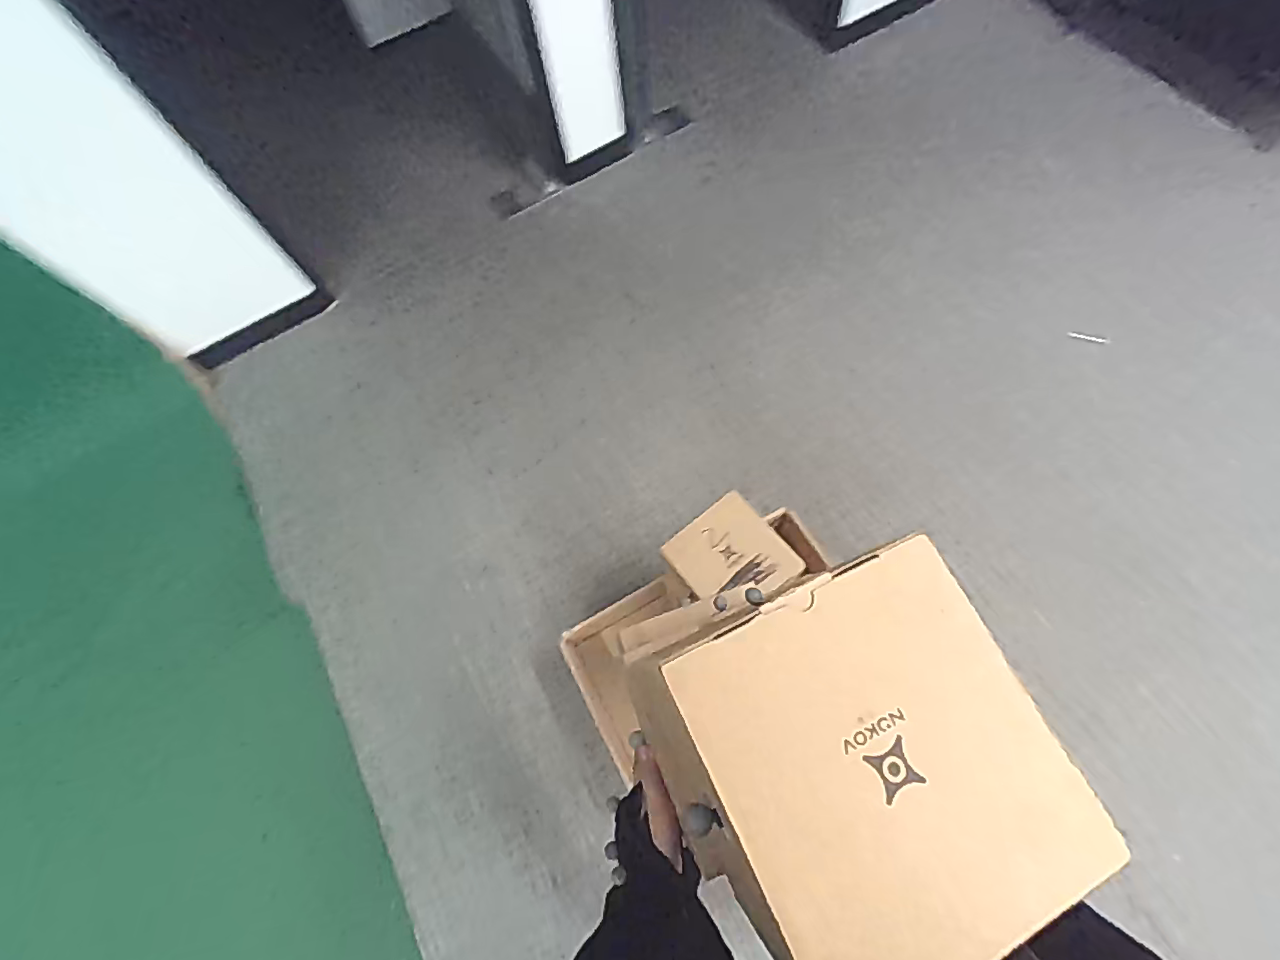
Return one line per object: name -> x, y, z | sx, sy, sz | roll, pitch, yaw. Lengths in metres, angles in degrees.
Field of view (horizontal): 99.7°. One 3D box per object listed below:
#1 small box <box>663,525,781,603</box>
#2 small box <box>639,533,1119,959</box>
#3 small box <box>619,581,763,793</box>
small box -> 0.168, 0.222, 1.096 | 0.179, 0.176, 0.168 | -34, 70, -5
small box -> 0.108, 0.157, 0.332 | 0.168, 0.176, 0.179 | -23, 74, -11
small box -> 0.077, 0.237, 0.647 | 0.168, 0.176, 0.179 | -16, 72, -9
